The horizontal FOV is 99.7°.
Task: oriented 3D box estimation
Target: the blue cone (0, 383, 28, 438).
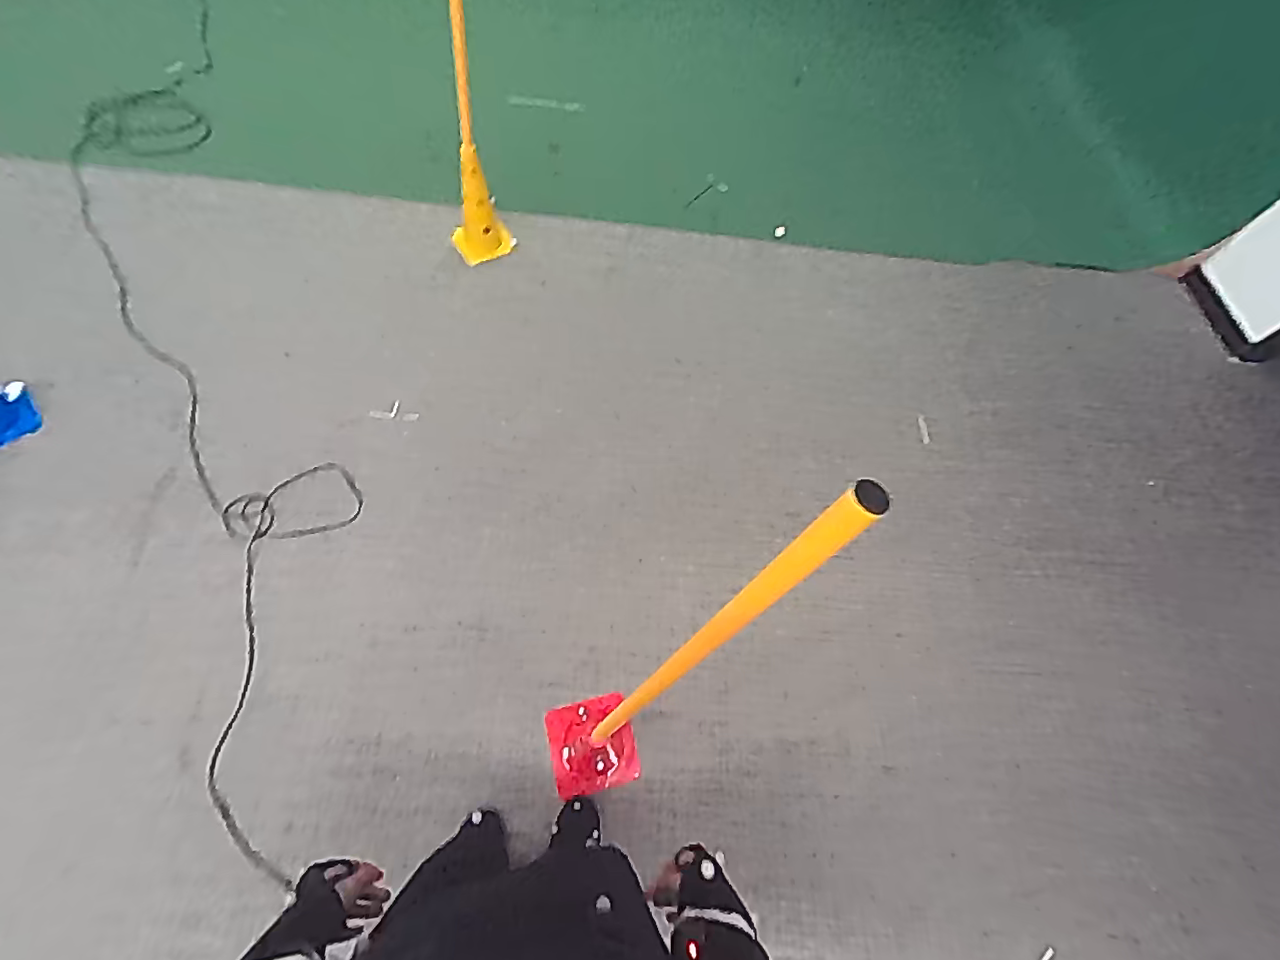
[{"bbox_3d":[-1.801,-0.237,1.342,0.193,0.380,0.192,-38,74,-21],"label":"blue cone"}]
